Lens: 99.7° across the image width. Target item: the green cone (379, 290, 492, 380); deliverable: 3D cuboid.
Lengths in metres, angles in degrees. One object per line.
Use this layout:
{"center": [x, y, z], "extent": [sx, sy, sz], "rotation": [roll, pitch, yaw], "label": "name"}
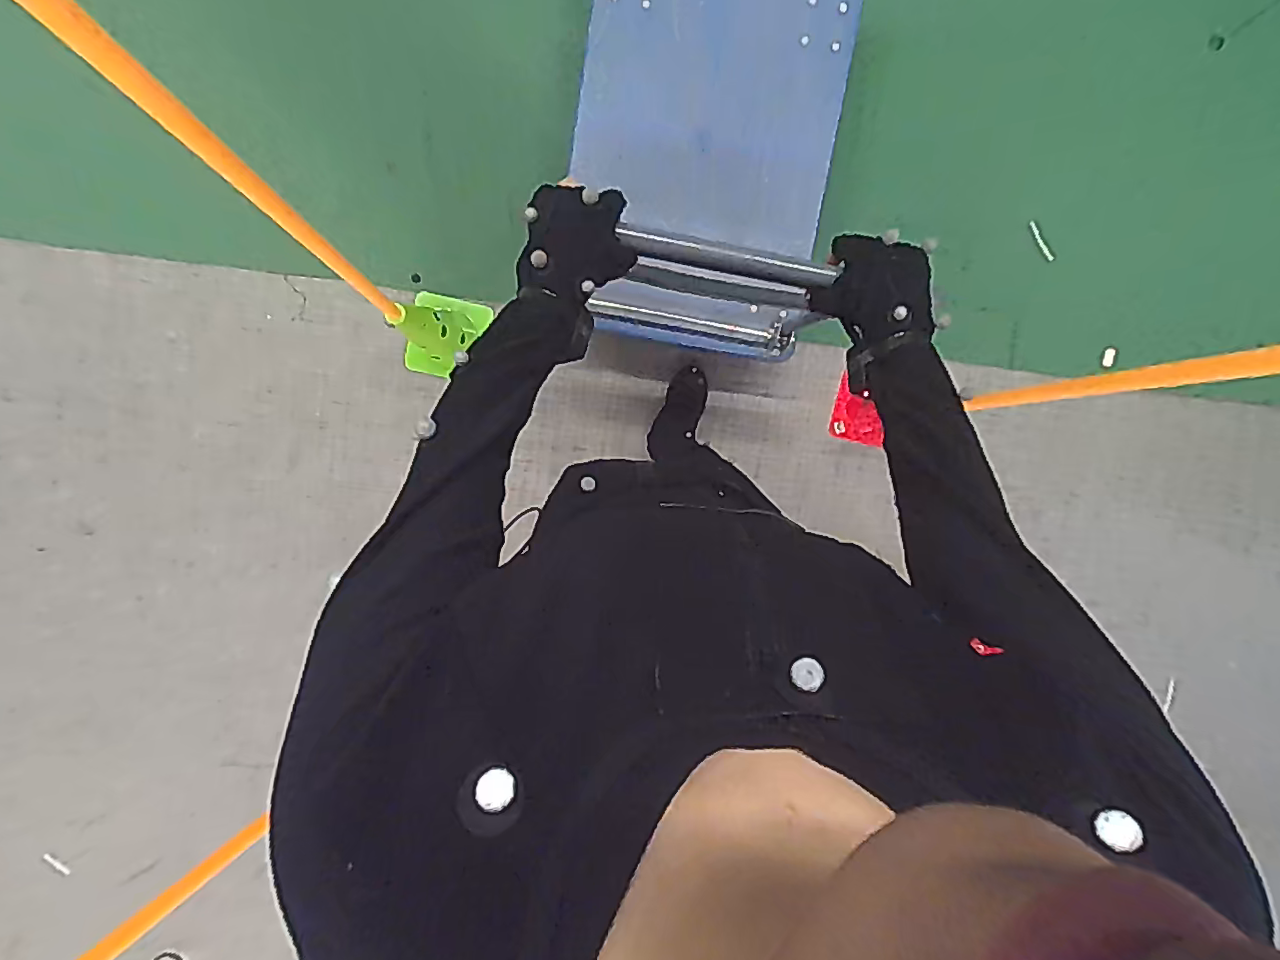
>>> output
{"center": [-0.485, -0.352, 1.219], "extent": [0.202, 0.368, 0.200], "rotation": [11, 96, -3], "label": "green cone"}
